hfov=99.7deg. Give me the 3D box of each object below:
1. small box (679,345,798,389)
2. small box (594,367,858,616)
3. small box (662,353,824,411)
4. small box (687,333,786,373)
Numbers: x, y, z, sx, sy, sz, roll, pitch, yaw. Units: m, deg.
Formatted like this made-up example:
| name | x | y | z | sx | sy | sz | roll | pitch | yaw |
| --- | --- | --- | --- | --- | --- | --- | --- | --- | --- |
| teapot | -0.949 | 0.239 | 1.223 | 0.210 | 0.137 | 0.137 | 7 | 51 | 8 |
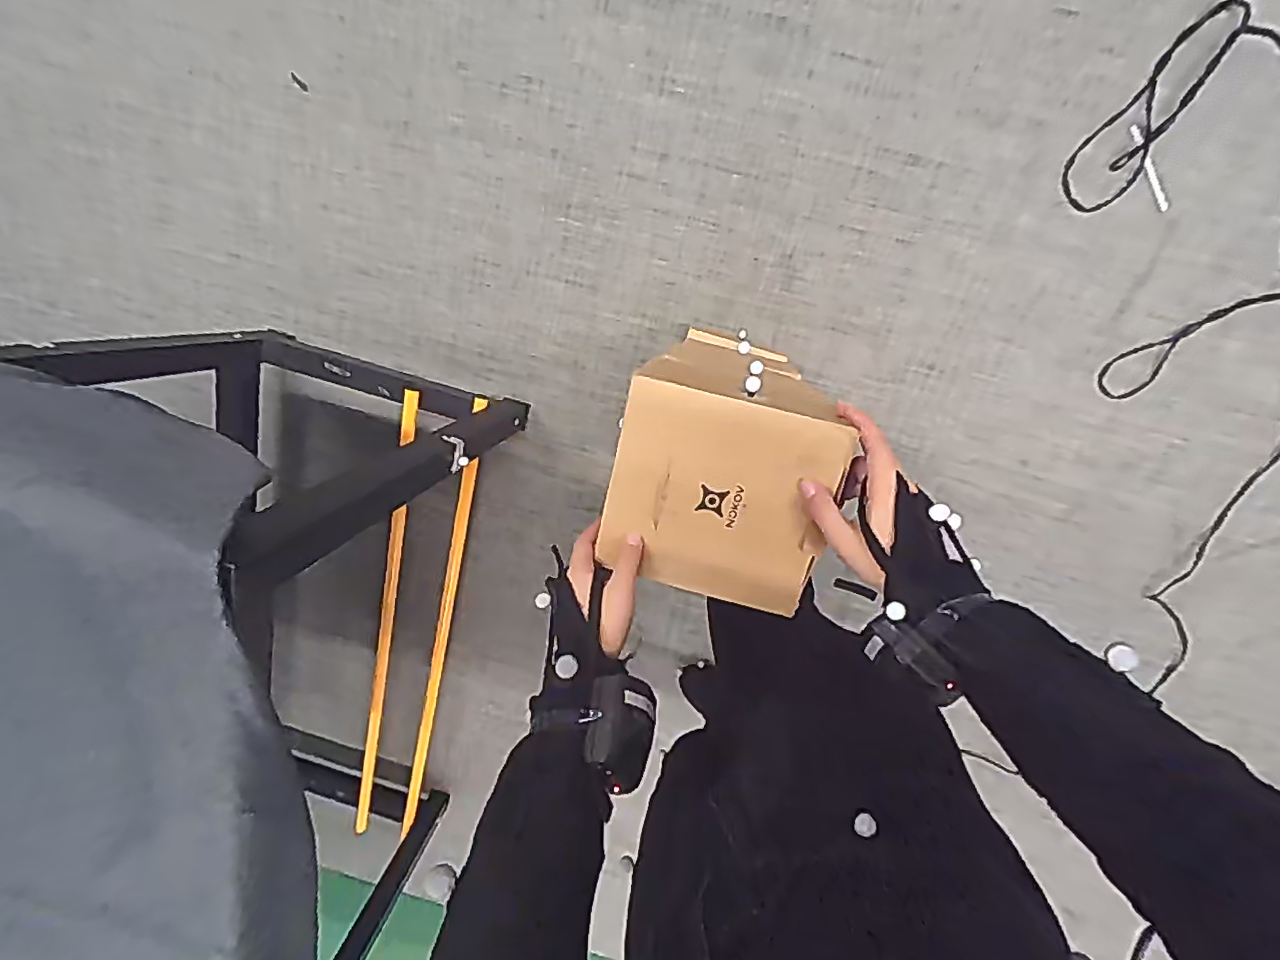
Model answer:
| name | x | y | z | sx | sy | sz | roll | pitch | yaw |
| --- | --- | --- | --- | --- | --- | --- | --- | --- | --- |
| small box | 0.122 | -0.095 | 0.815 | 0.168 | 0.176 | 0.179 | 15 | 108 | 3 |
| small box | 0.072 | -0.005 | 0.503 | 0.179 | 0.176 | 0.168 | 14 | 107 | 4 |
| small box | 0.095 | -0.052 | 0.658 | 0.179 | 0.176 | 0.168 | 17 | 108 | 2 |
| small box | 0.144 | -0.156 | 0.965 | 0.168 | 0.176 | 0.179 | 18 | 108 | 3 |
